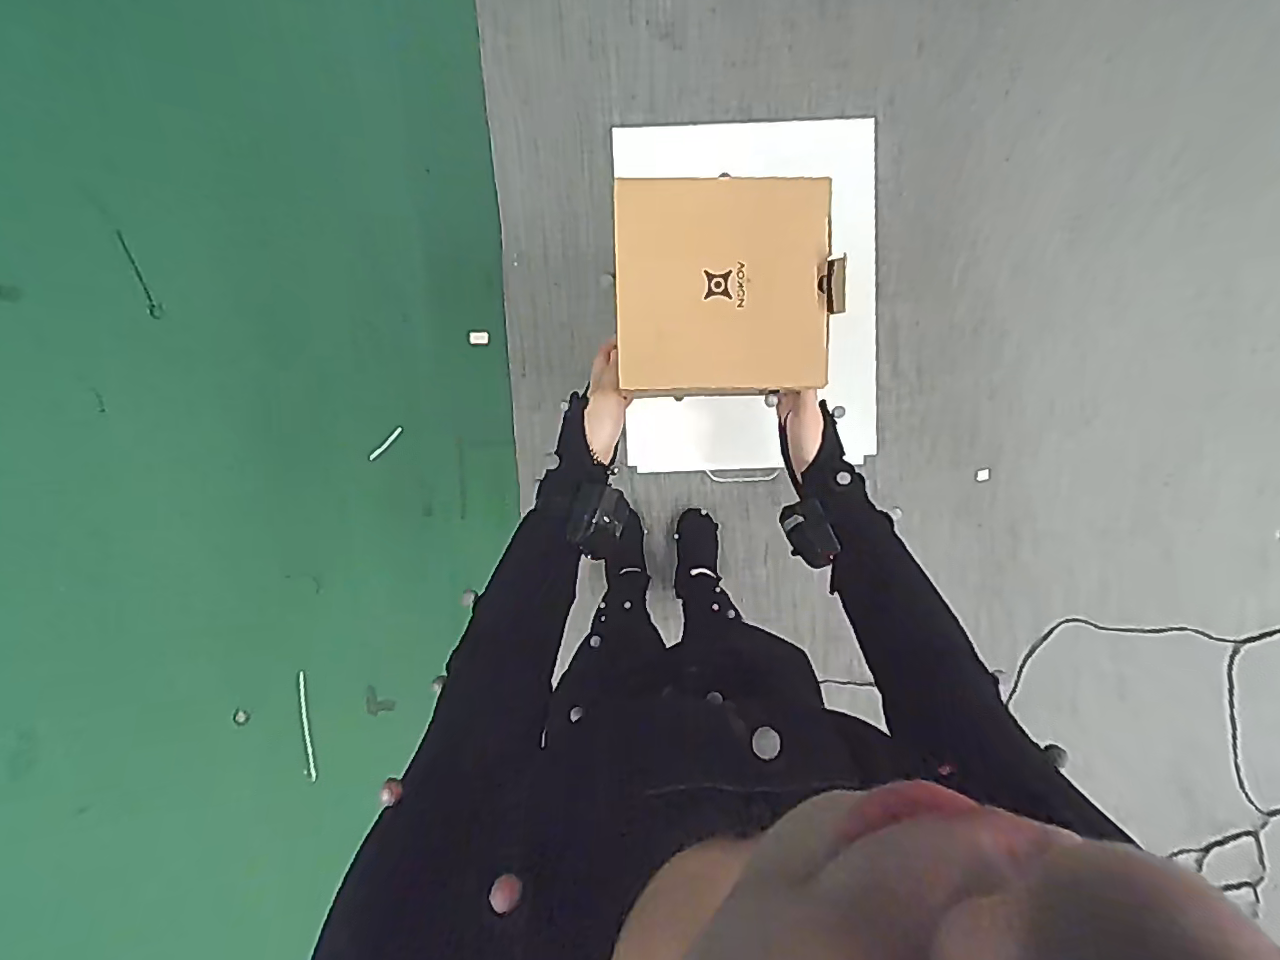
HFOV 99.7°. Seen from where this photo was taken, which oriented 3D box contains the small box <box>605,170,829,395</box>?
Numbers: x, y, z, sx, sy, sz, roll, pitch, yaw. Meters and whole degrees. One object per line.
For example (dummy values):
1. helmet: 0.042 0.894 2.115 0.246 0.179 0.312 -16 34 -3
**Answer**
1. small box: 0.059 -0.167 0.507 0.179 0.176 0.168 -2 97 -3
